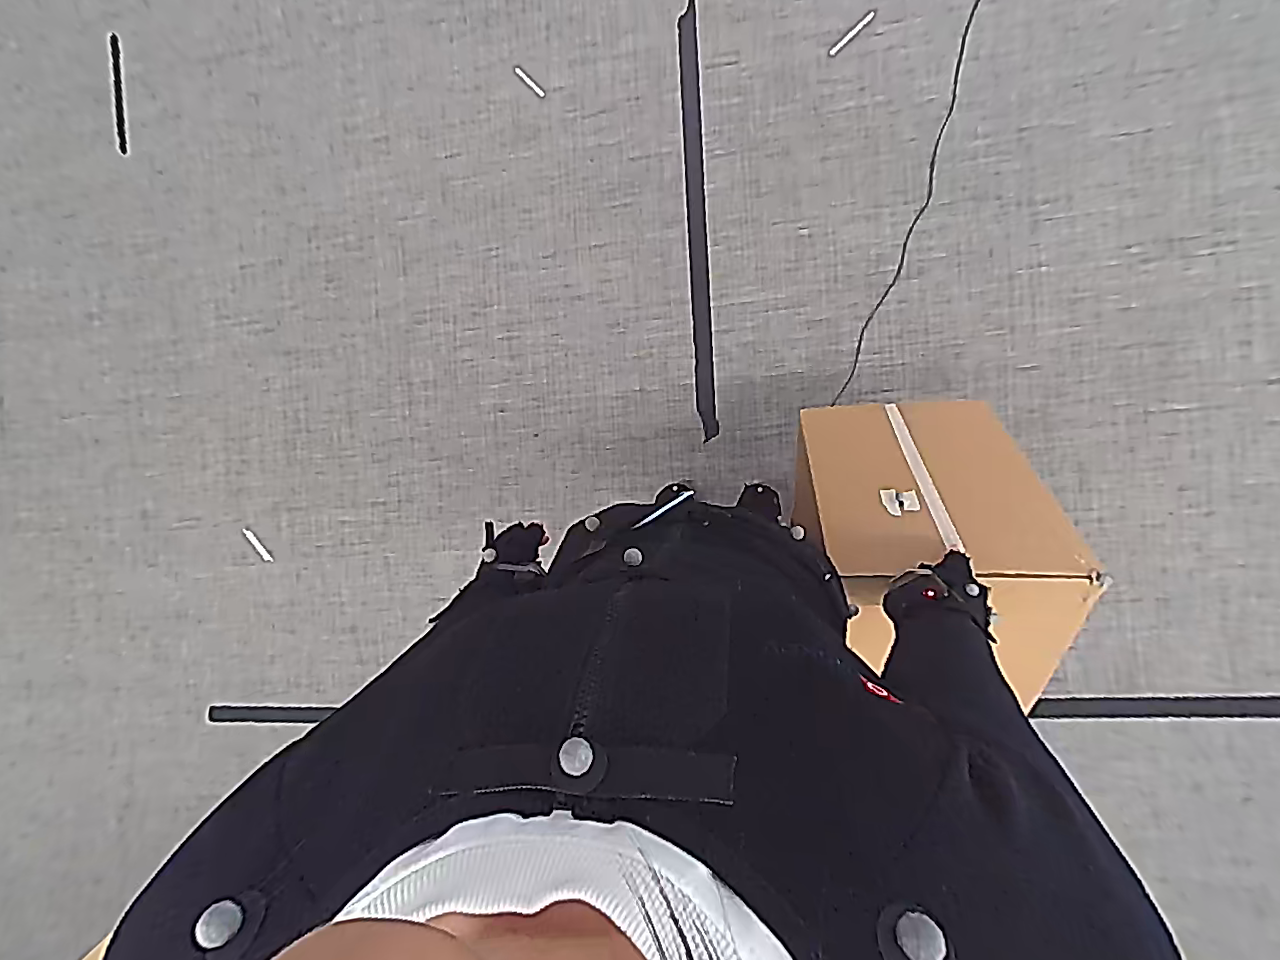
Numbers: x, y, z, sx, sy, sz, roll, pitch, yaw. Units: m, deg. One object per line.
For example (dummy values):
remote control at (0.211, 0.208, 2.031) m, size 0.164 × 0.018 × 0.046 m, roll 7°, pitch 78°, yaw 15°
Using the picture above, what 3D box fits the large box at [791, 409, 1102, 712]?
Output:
large box at (0.440, 0.119, 0.911) m, size 0.320 × 0.408 × 0.320 m, roll -2°, pitch 129°, yaw 10°
